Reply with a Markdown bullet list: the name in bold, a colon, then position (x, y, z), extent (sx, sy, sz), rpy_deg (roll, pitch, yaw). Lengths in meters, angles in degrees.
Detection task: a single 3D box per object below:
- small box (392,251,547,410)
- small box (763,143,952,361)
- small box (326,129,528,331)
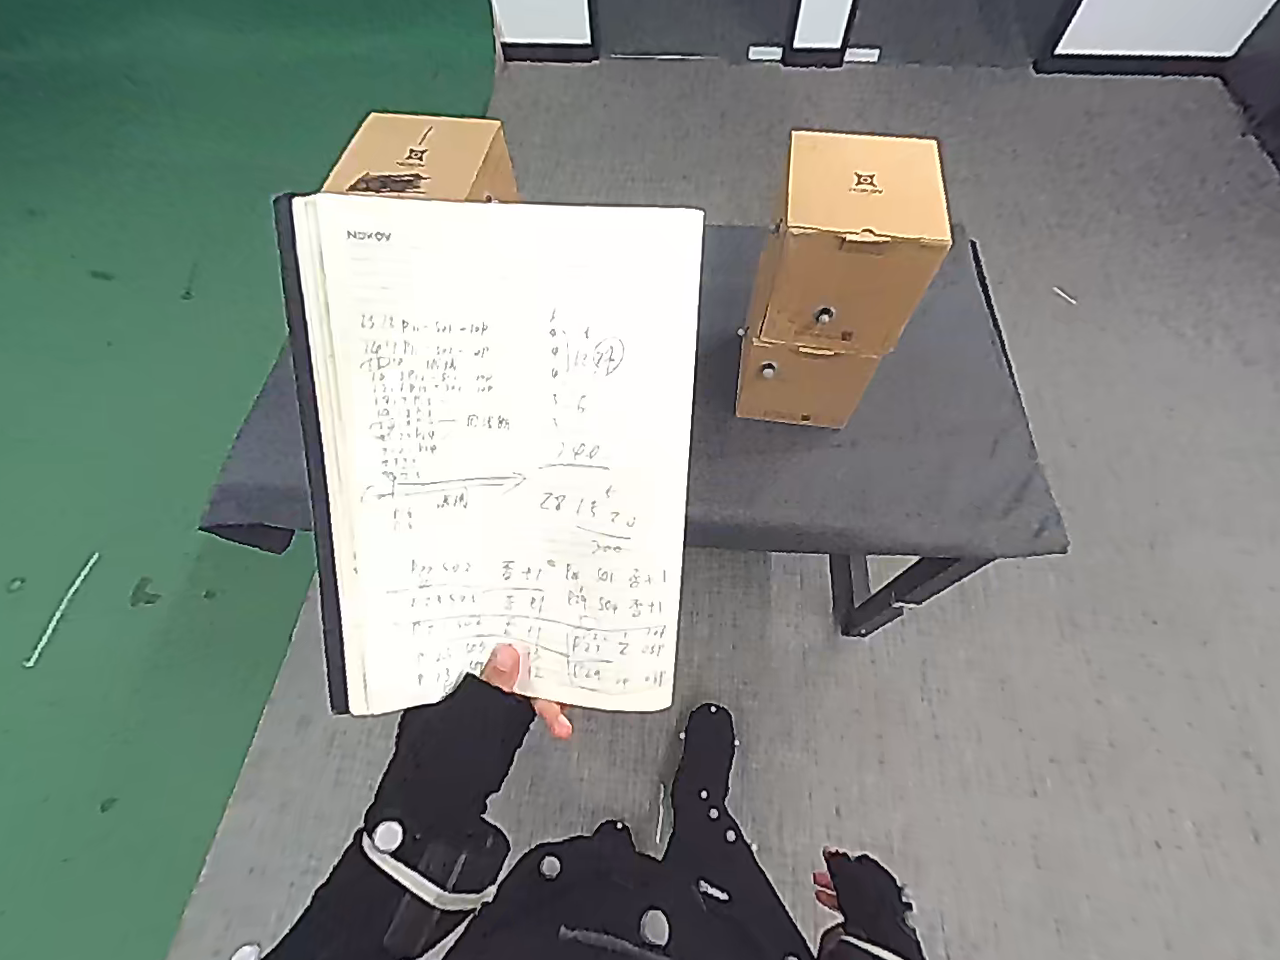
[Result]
- **small box**: position (-0.246, -0.232, 0.836), extent (0.168, 0.176, 0.179), rpy_deg (4, 61, 4)
- **small box**: position (0.249, -0.274, 0.662), extent (0.168, 0.176, 0.179), rpy_deg (7, 62, 5)
- **small box**: position (-0.252, -0.314, 0.694), extent (0.168, 0.176, 0.179), rpy_deg (6, 60, 4)
